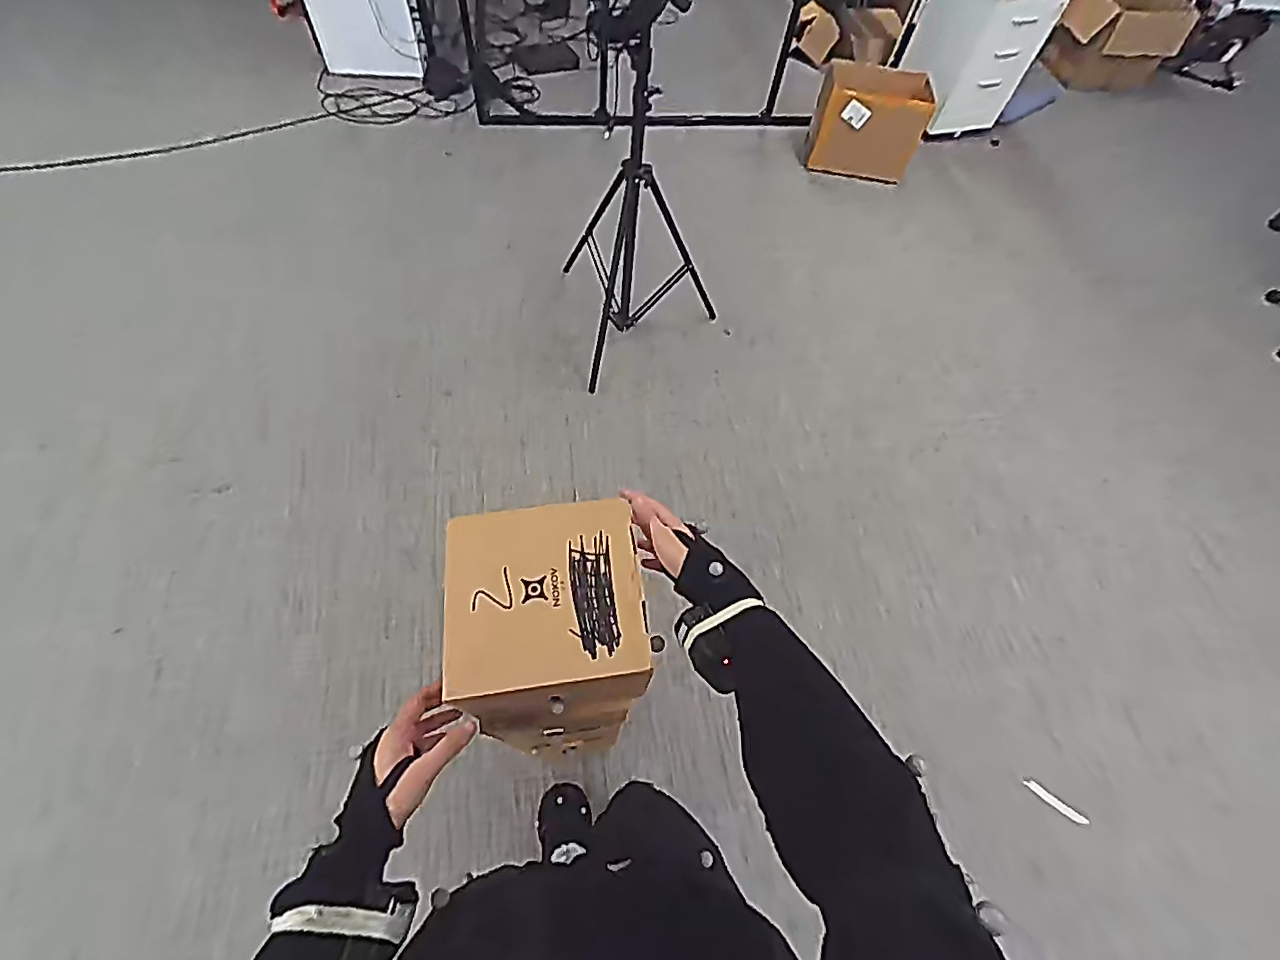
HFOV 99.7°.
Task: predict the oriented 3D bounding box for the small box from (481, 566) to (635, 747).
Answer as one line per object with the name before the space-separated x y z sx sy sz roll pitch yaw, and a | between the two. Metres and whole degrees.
small box | -0.104 0.228 0.687 0.168 0.176 0.179 -7 62 -7

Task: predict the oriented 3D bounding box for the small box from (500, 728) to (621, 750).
small box | -0.118 0.308 0.827 0.168 0.176 0.179 -5 60 -7

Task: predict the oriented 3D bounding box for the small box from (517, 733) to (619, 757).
small box | -0.127 0.390 0.969 0.168 0.176 0.179 -4 62 -7
